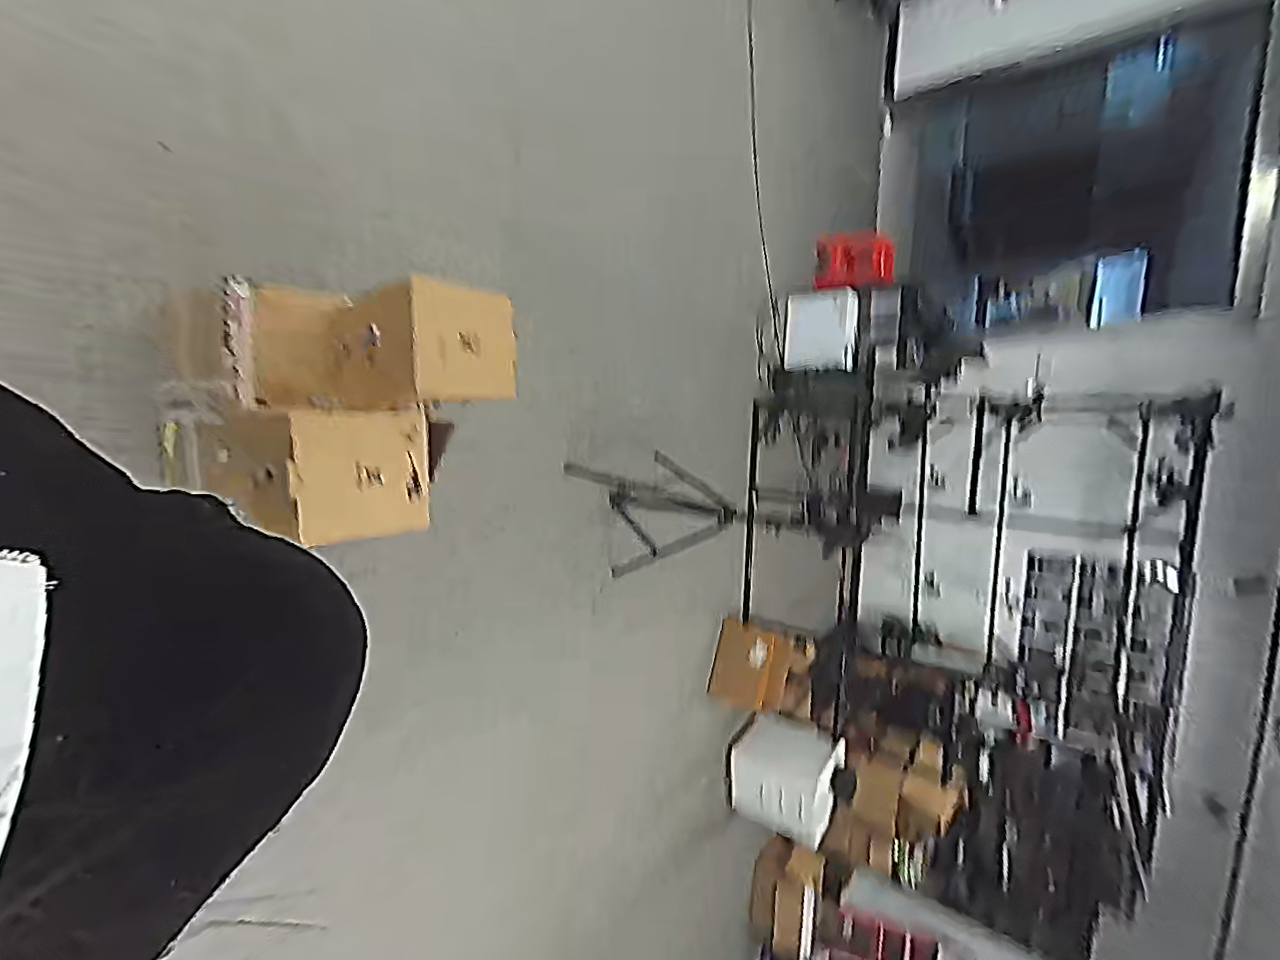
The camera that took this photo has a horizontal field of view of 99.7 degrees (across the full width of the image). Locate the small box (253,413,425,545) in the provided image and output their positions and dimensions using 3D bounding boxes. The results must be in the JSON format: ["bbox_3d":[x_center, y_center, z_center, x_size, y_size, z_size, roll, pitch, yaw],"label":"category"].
[{"bbox_3d":[-0.430,-0.009,0.770,0.179,0.176,0.168,-5,99,-50],"label":"small box"}]

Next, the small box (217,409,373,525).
[{"bbox_3d":[-0.553,-0.030,0.877,0.179,0.176,0.168,-7,100,-49],"label":"small box"}]

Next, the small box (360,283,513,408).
[{"bbox_3d":[-0.327,-0.204,0.874,0.179,0.176,0.168,-6,97,-49],"label":"small box"}]

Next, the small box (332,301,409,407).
[{"bbox_3d":[-0.439,-0.222,0.993,0.179,0.176,0.168,-5,97,-50],"label":"small box"}]
